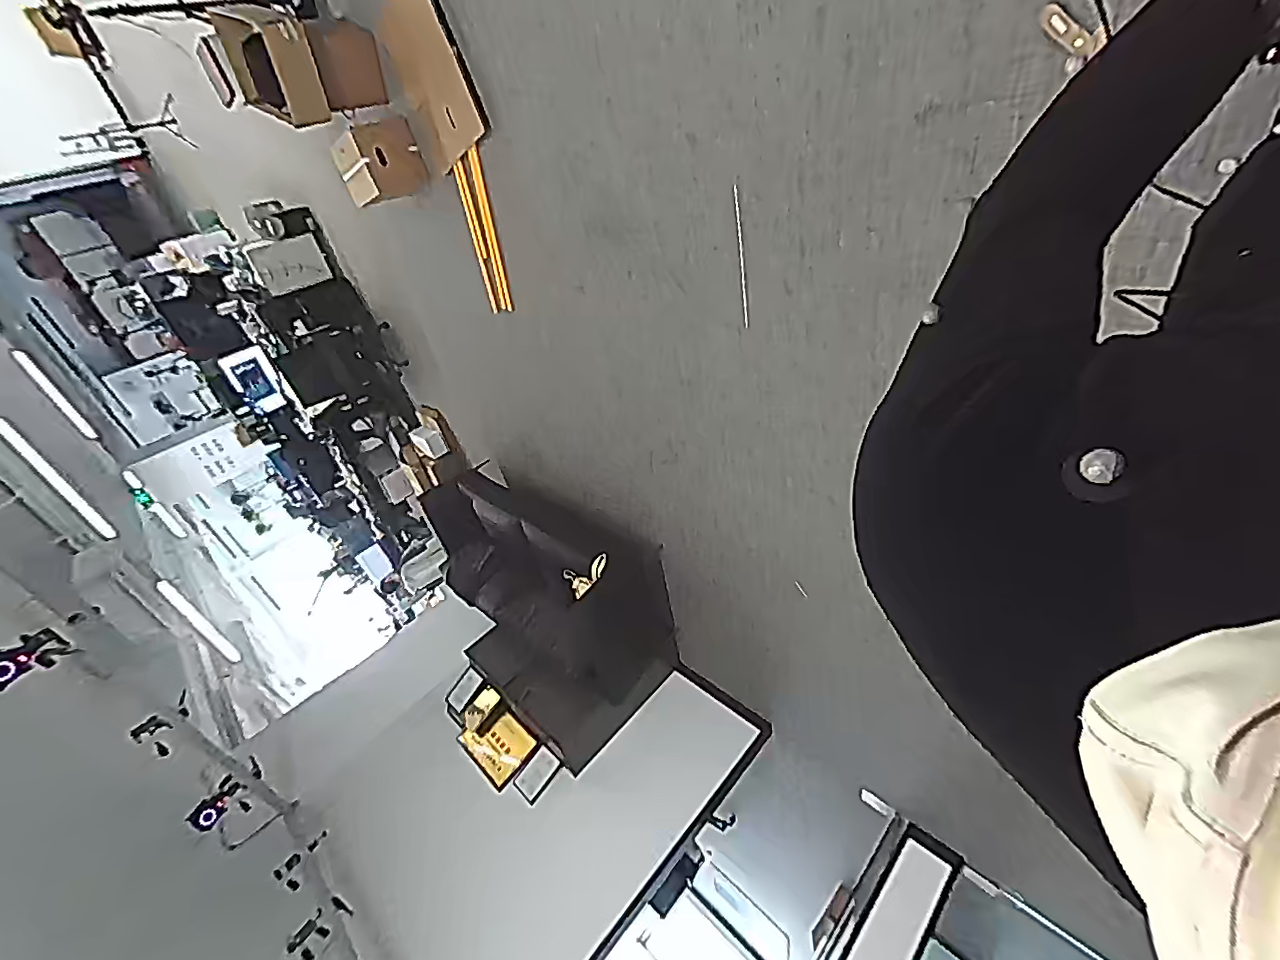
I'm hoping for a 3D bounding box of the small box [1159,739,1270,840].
[{"bbox_3d":[1.692,0.900,1.594,0.179,0.176,0.168,23,139,39],"label":"small box"}]
